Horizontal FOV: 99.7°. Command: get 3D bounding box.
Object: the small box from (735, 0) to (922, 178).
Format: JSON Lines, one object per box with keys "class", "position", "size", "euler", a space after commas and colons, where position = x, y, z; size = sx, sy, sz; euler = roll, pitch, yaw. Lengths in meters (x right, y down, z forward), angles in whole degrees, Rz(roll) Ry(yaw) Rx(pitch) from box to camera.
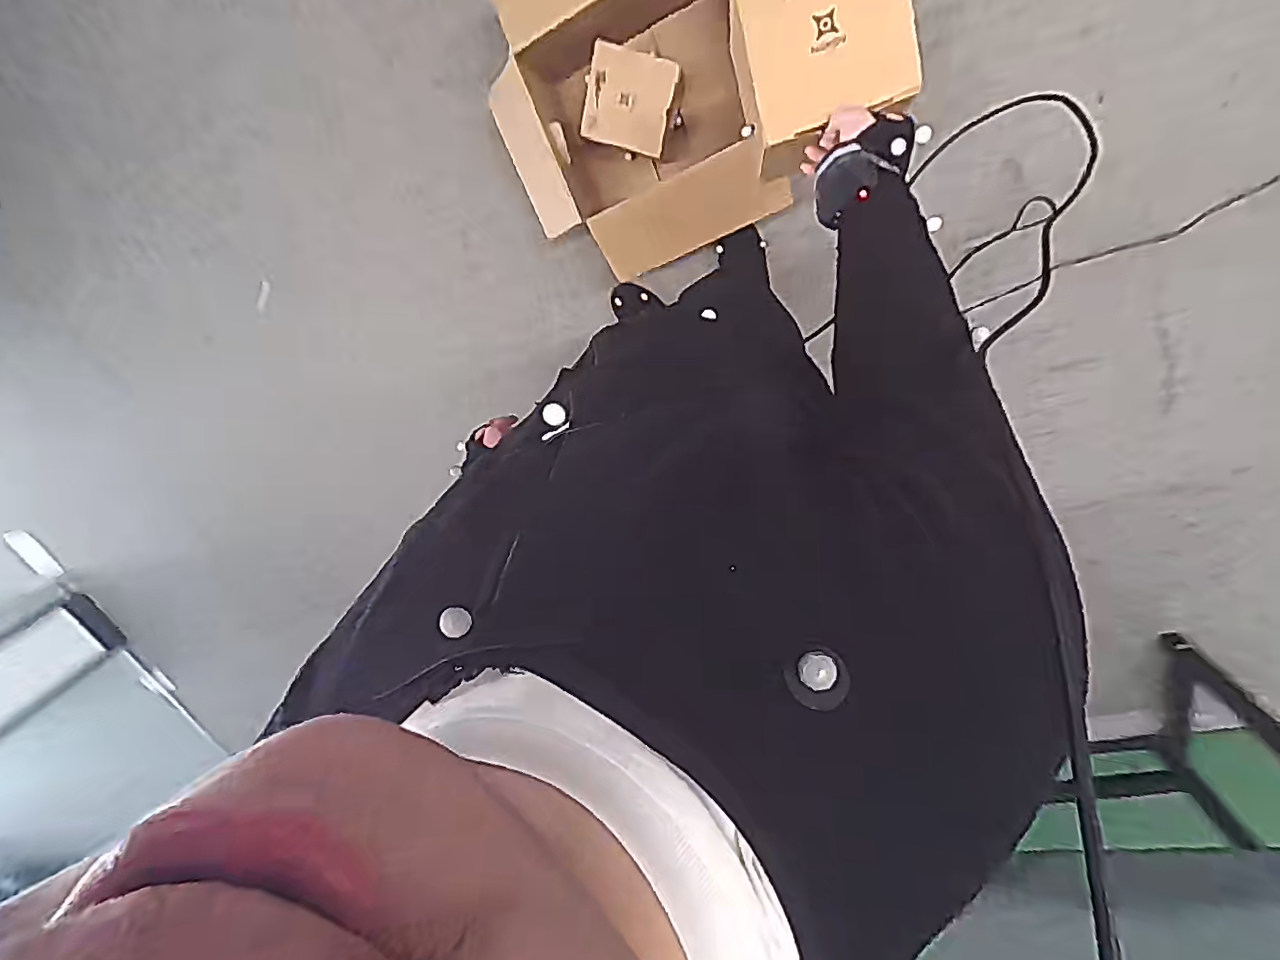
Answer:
{"class": "small box", "position": [0.210, -0.483, 0.641], "size": [0.168, 0.176, 0.179], "euler": [-12, 102, 11]}
